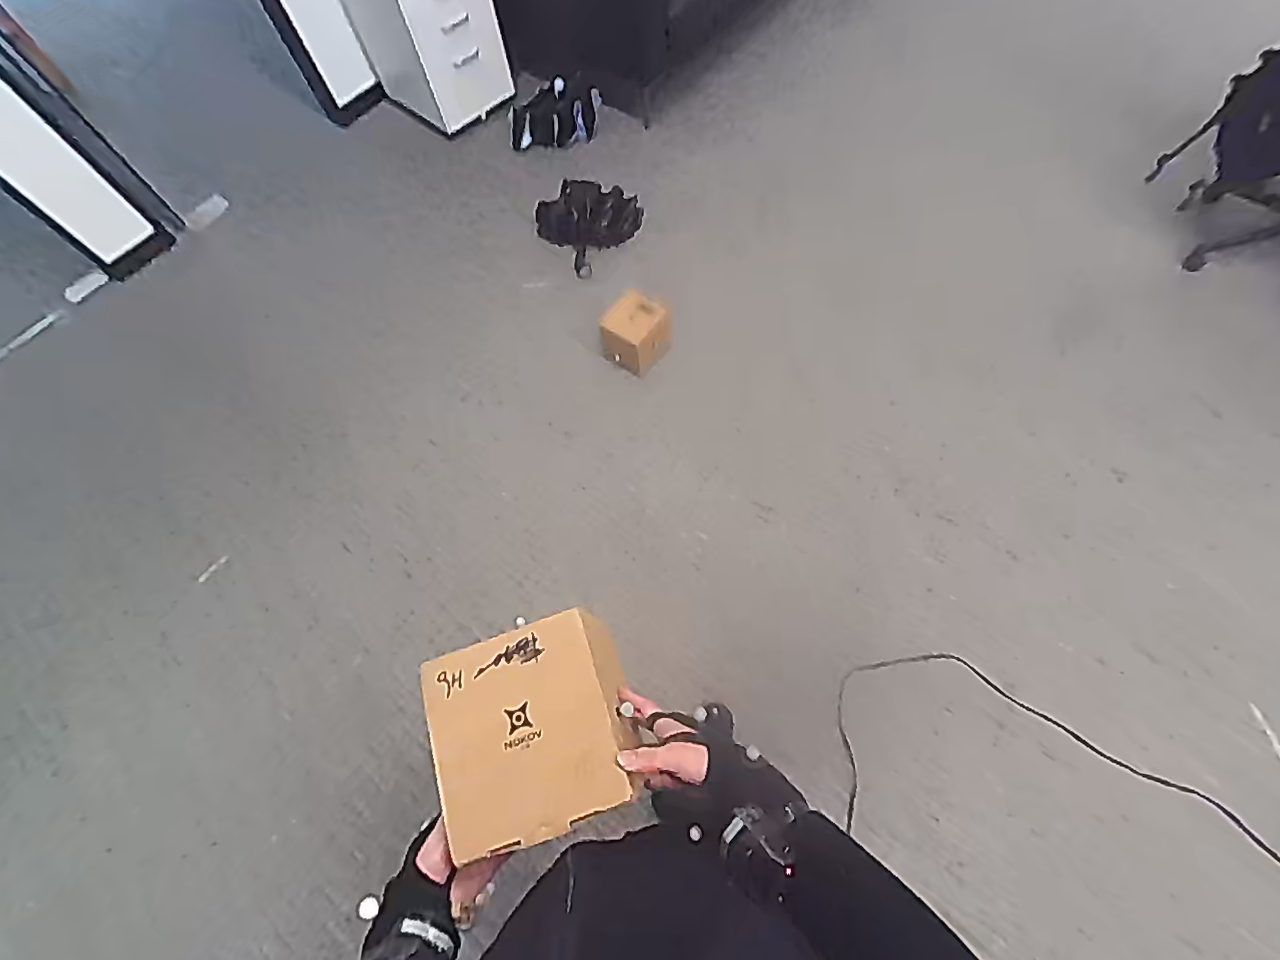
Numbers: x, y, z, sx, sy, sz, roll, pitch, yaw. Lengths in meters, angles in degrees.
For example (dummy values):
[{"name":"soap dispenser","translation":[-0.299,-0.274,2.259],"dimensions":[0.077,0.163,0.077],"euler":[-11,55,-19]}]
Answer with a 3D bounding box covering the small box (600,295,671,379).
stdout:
[{"name":"small box","translation":[-0.009,-0.479,1.821],"dimensions":[0.168,0.176,0.179],"euler":[33,73,20]}]
